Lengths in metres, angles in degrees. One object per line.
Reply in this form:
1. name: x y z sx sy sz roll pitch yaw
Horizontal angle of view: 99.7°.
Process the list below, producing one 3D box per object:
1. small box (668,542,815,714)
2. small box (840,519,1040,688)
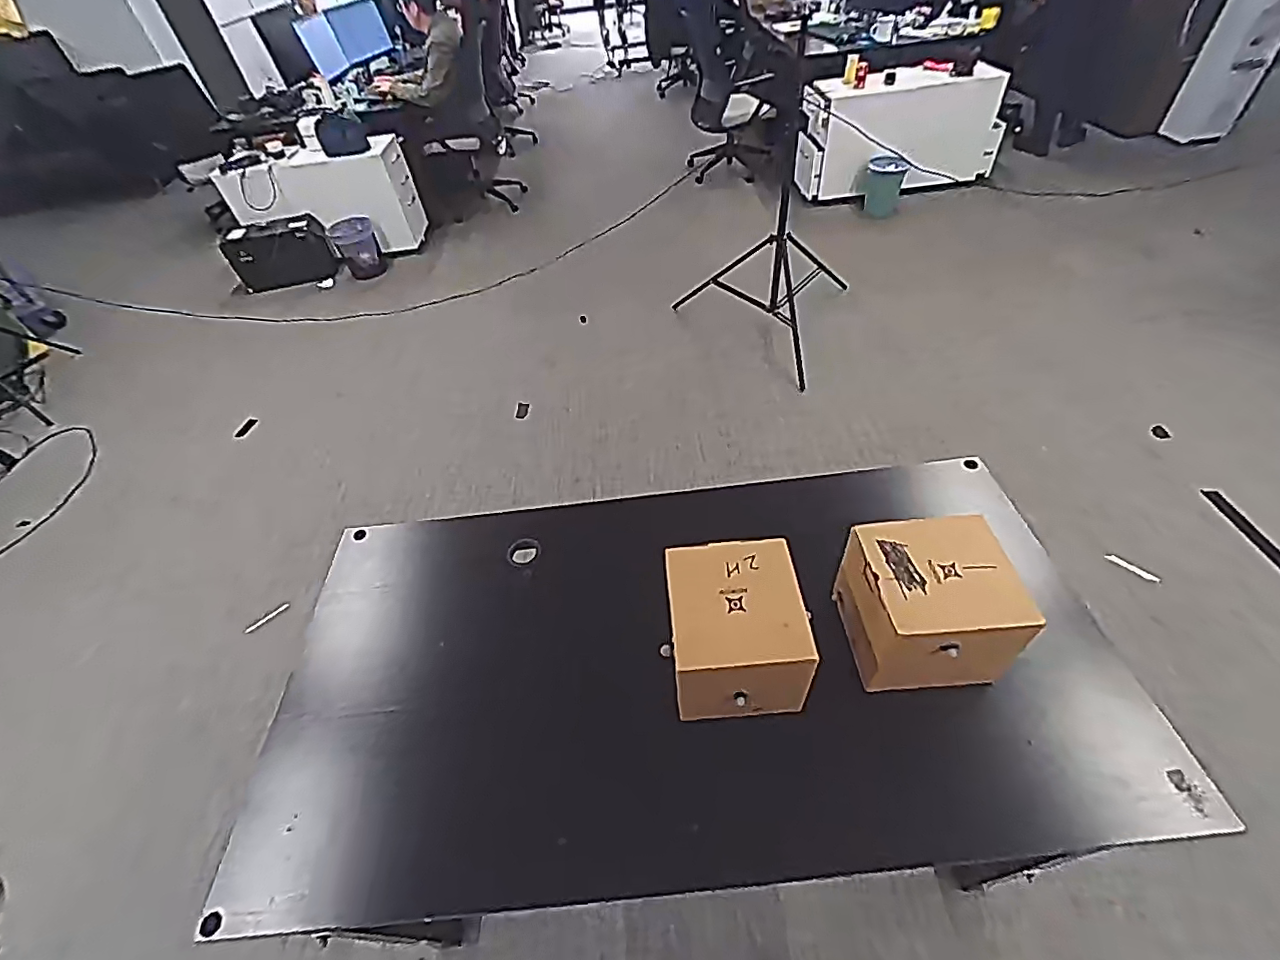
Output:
1. small box: 0.131 0.210 0.748 0.168 0.176 0.179 -5 47 2
2. small box: 0.389 0.175 0.747 0.179 0.176 0.168 -5 47 2
